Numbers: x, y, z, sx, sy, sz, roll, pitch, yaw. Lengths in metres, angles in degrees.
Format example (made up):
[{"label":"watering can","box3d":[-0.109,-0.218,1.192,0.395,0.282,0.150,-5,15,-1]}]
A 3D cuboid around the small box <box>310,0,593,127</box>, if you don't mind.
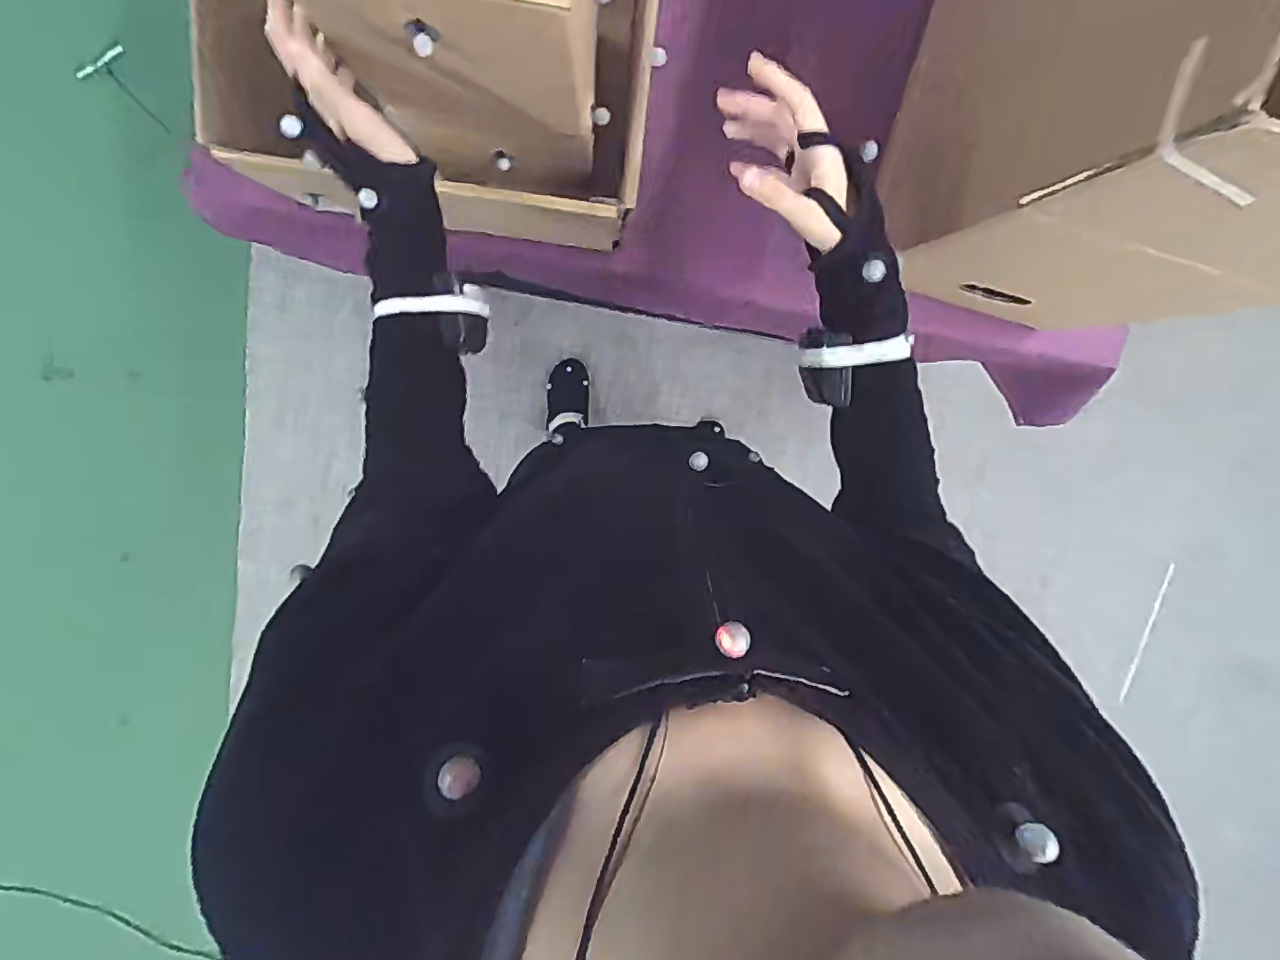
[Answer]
[{"label":"small box","box3d":[-0.126,-0.377,0.374,0.179,0.176,0.168,7,101,-5]}]
